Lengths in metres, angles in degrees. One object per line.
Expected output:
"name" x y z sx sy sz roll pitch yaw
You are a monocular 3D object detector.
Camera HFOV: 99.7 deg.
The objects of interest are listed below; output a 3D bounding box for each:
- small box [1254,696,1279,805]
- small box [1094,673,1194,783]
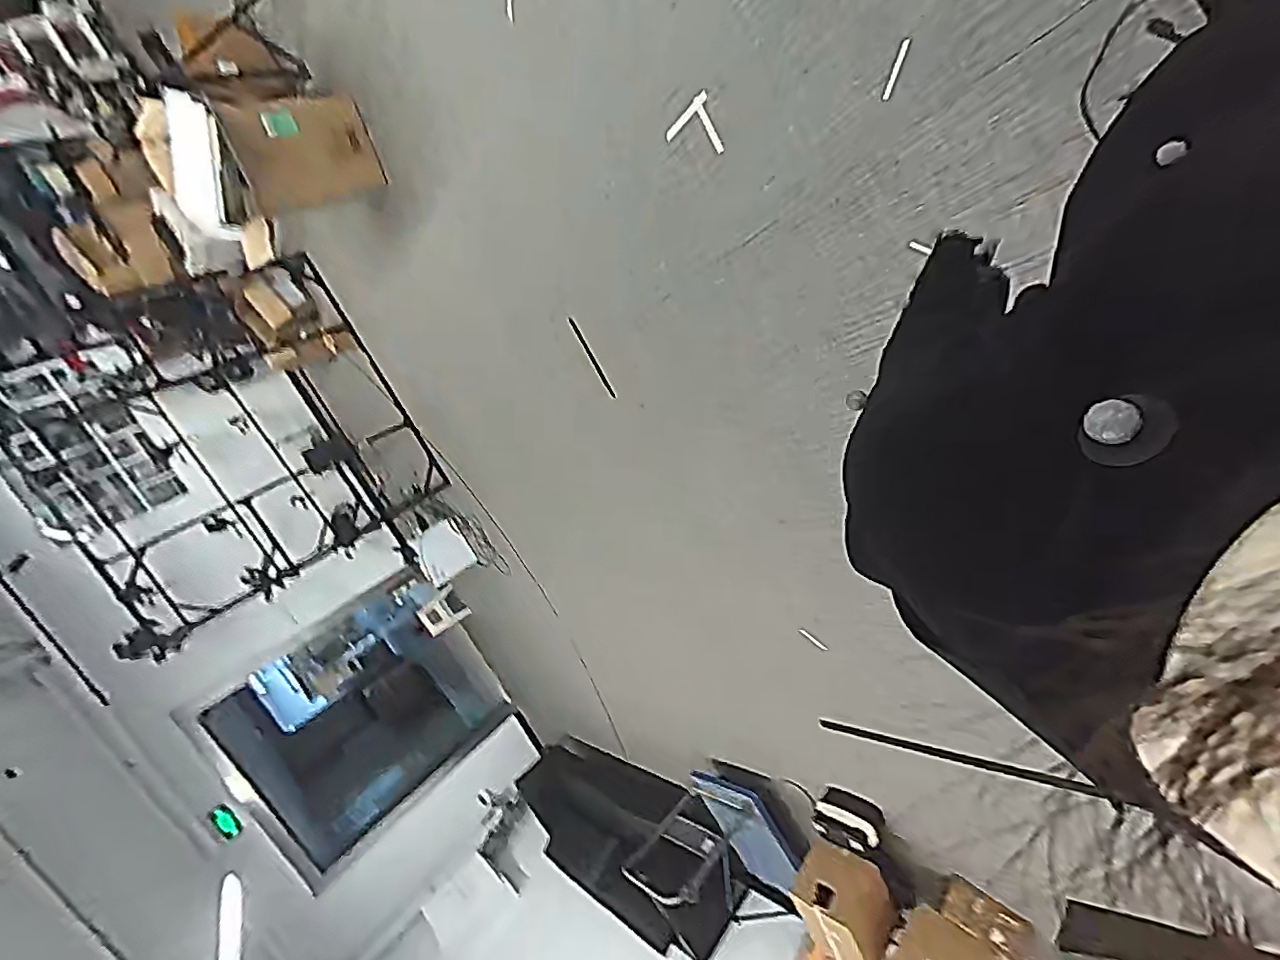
"small box" 1.492 0.610 1.193 0.168 0.176 0.179 -10 112 53
"small box" 1.323 0.638 1.417 0.168 0.176 0.179 -5 116 52
